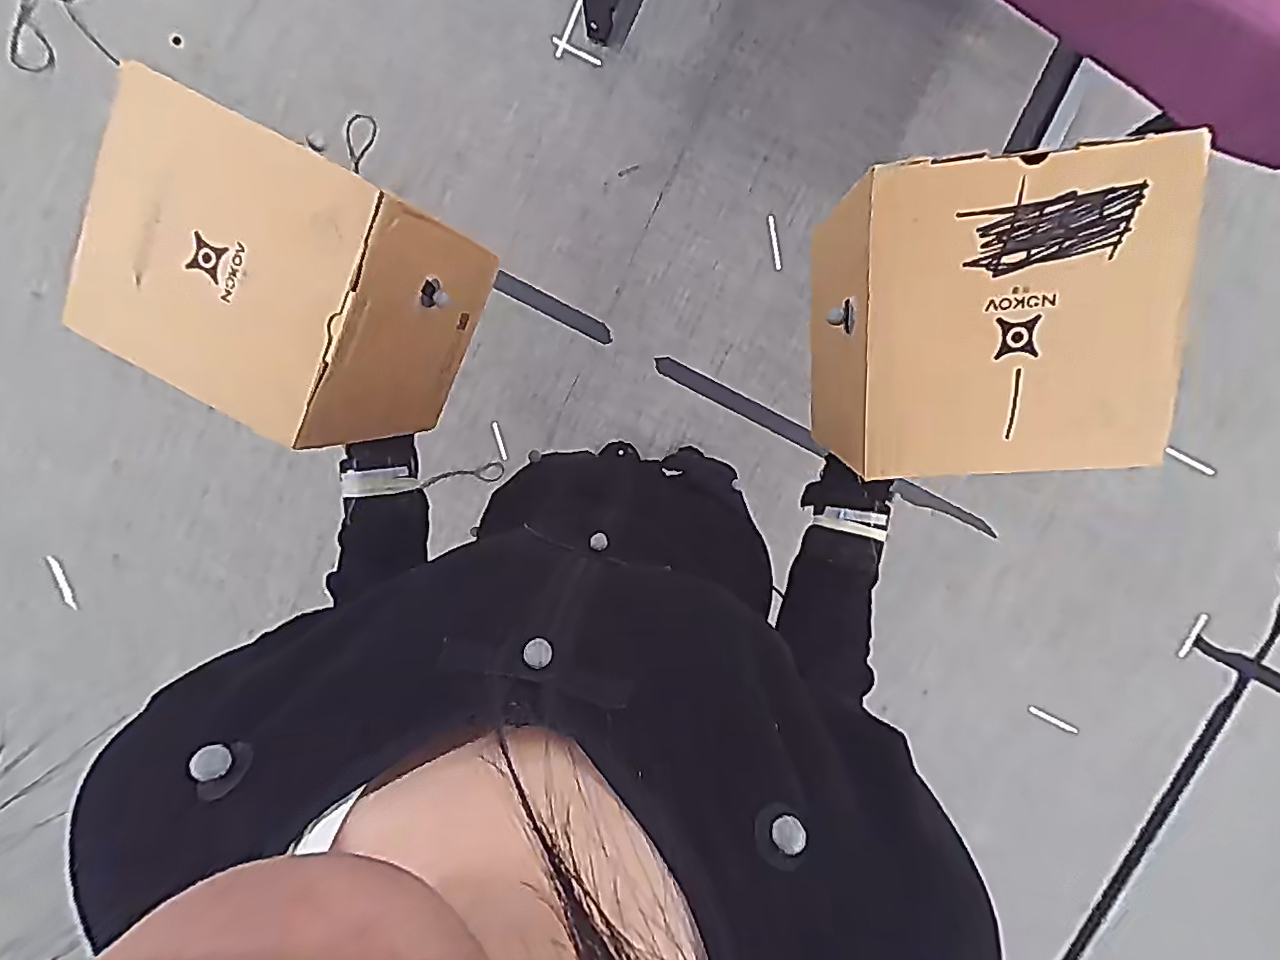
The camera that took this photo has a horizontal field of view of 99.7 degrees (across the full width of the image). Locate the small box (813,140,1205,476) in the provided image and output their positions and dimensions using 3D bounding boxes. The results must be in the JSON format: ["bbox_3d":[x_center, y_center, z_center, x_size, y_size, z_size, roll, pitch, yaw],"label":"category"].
[{"bbox_3d":[0.223,-0.108,0.383,0.168,0.176,0.179,-2,104,7],"label":"small box"}]

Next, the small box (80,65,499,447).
[{"bbox_3d":[-0.232,-0.142,0.400,0.179,0.176,0.168,27,102,3],"label":"small box"}]
